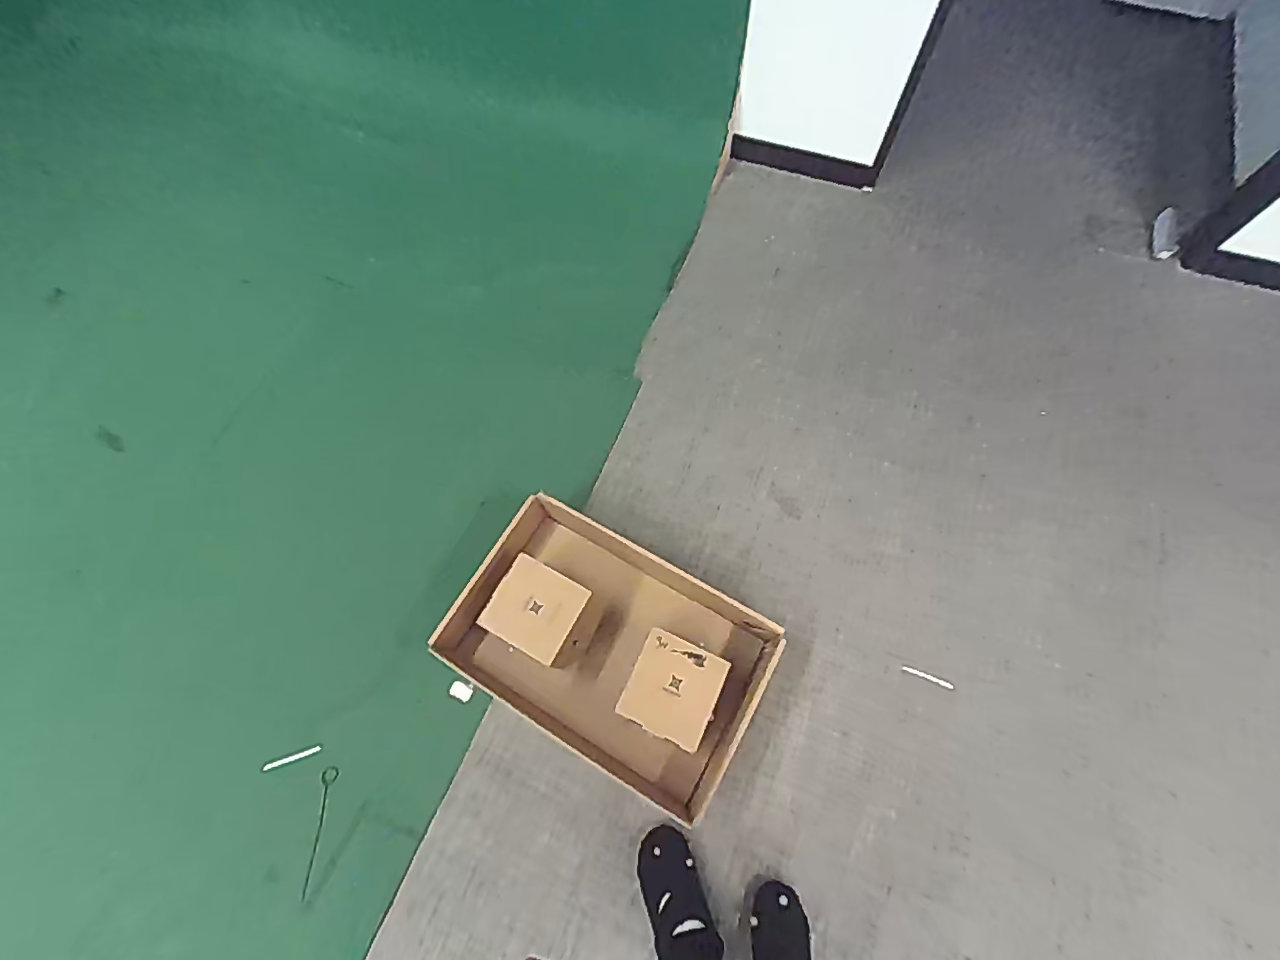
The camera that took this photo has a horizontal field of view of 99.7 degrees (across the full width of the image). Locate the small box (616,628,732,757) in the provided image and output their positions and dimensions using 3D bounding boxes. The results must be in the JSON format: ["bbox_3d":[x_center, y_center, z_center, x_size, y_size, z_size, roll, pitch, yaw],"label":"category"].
[{"bbox_3d":[0.069,0.420,1.081,0.168,0.176,0.179,24,72,11],"label":"small box"}]
